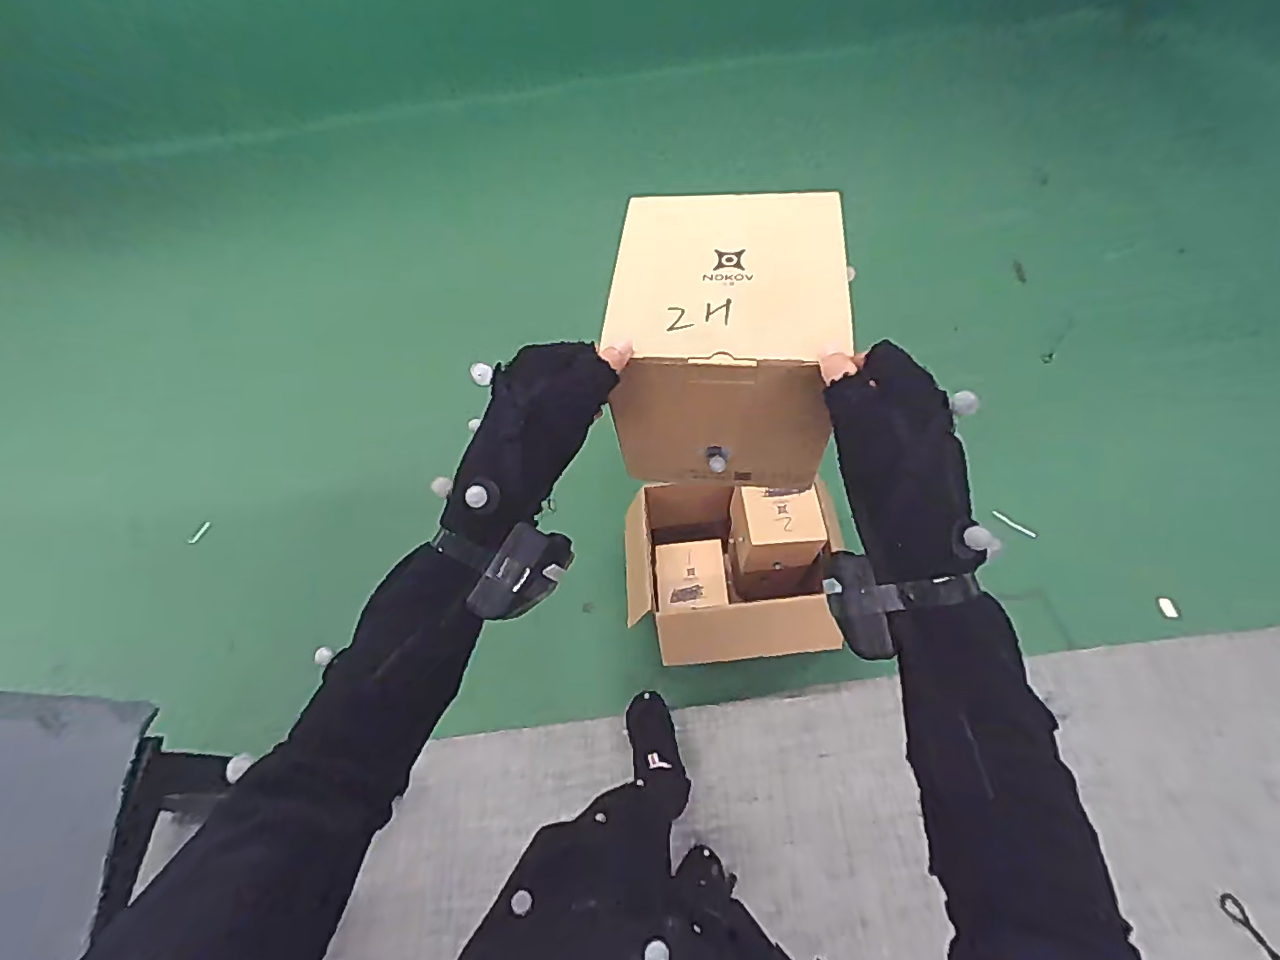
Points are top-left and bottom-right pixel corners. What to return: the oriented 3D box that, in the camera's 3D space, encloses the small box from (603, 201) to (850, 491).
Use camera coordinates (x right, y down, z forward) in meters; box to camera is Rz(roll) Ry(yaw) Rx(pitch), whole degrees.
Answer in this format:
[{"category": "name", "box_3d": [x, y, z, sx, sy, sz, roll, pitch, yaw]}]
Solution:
[{"category": "small box", "box_3d": [0.073, -0.111, 0.465, 0.168, 0.176, 0.179, 3, 60, 9]}]
